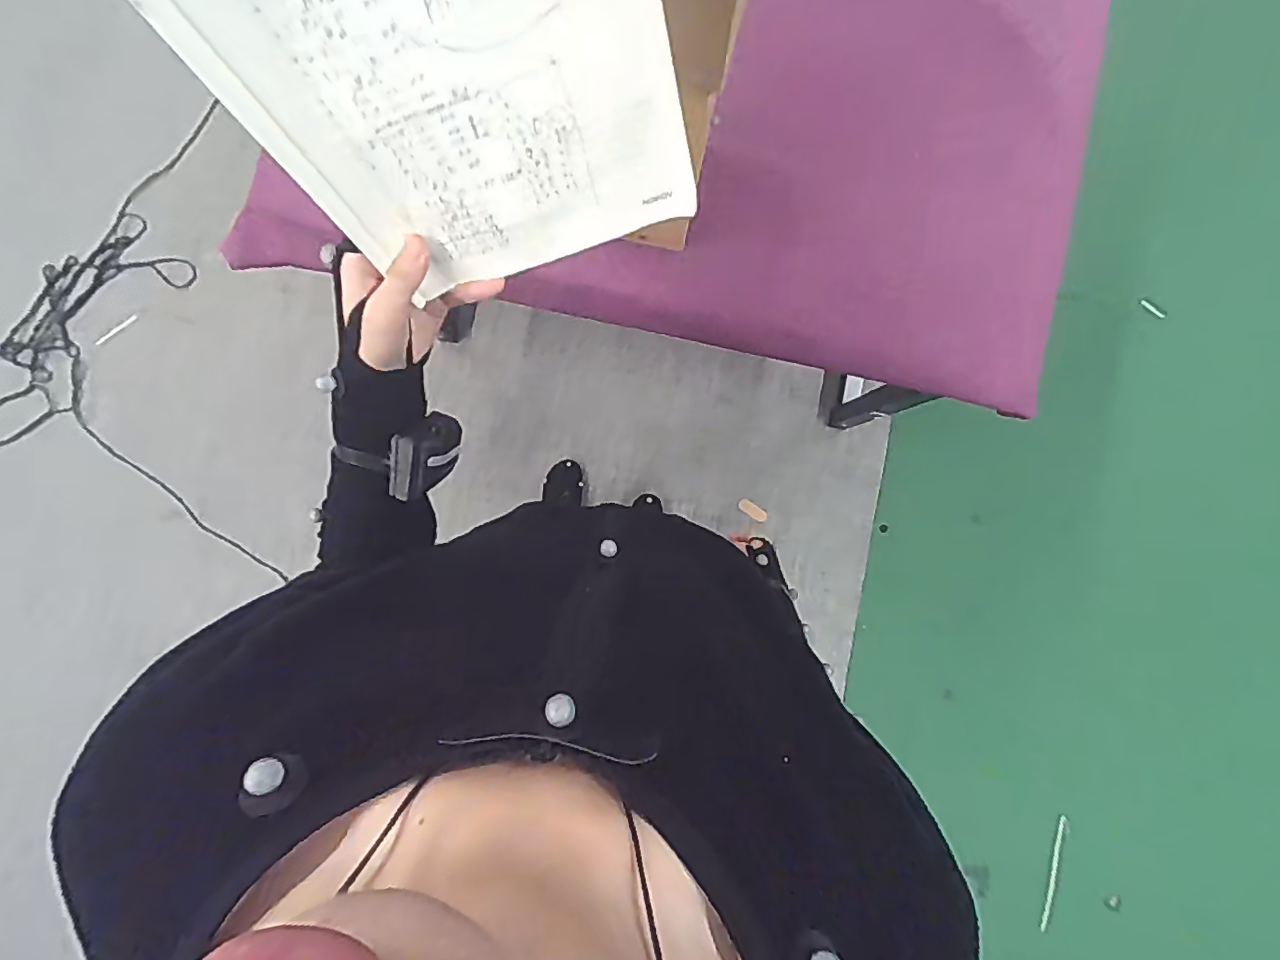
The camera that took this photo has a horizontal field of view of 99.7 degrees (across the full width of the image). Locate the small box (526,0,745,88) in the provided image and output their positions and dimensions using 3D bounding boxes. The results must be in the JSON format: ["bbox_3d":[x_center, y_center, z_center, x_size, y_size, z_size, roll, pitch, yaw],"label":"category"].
[{"bbox_3d":[0.010,-0.445,0.407,0.179,0.176,0.168,15,86,1],"label":"small box"}]

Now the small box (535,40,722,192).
[{"bbox_3d":[0.001,-0.443,0.573,0.168,0.176,0.179,12,86,0],"label":"small box"}]
